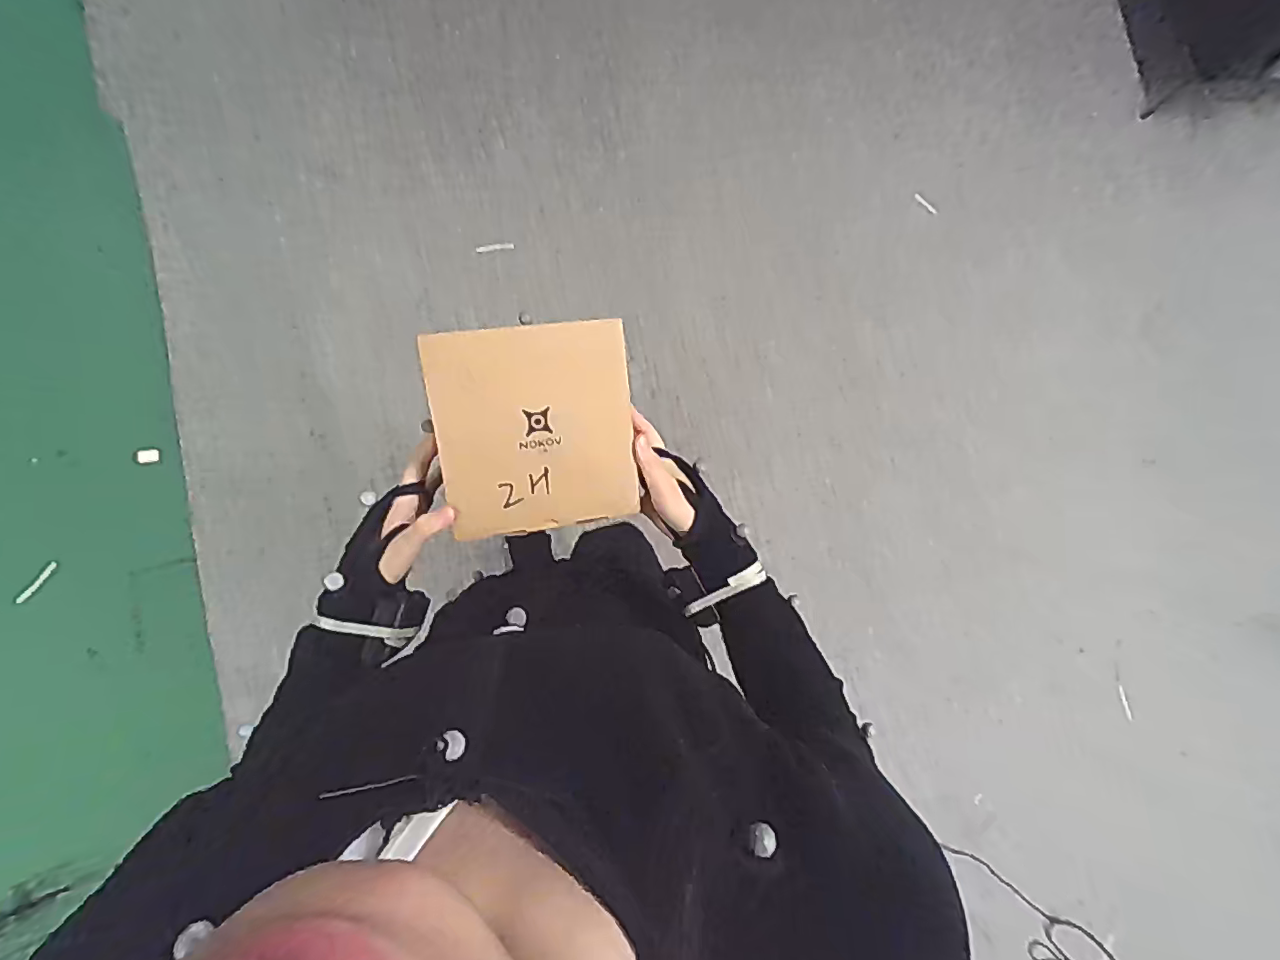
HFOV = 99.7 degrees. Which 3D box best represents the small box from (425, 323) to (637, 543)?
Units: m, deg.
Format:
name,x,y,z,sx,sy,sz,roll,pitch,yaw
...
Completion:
name,x,y,z,sx,sy,sz,roll,pitch,yaw
small box,-0.106,-0.056,0.540,0.168,0.176,0.179,-8,105,-11
